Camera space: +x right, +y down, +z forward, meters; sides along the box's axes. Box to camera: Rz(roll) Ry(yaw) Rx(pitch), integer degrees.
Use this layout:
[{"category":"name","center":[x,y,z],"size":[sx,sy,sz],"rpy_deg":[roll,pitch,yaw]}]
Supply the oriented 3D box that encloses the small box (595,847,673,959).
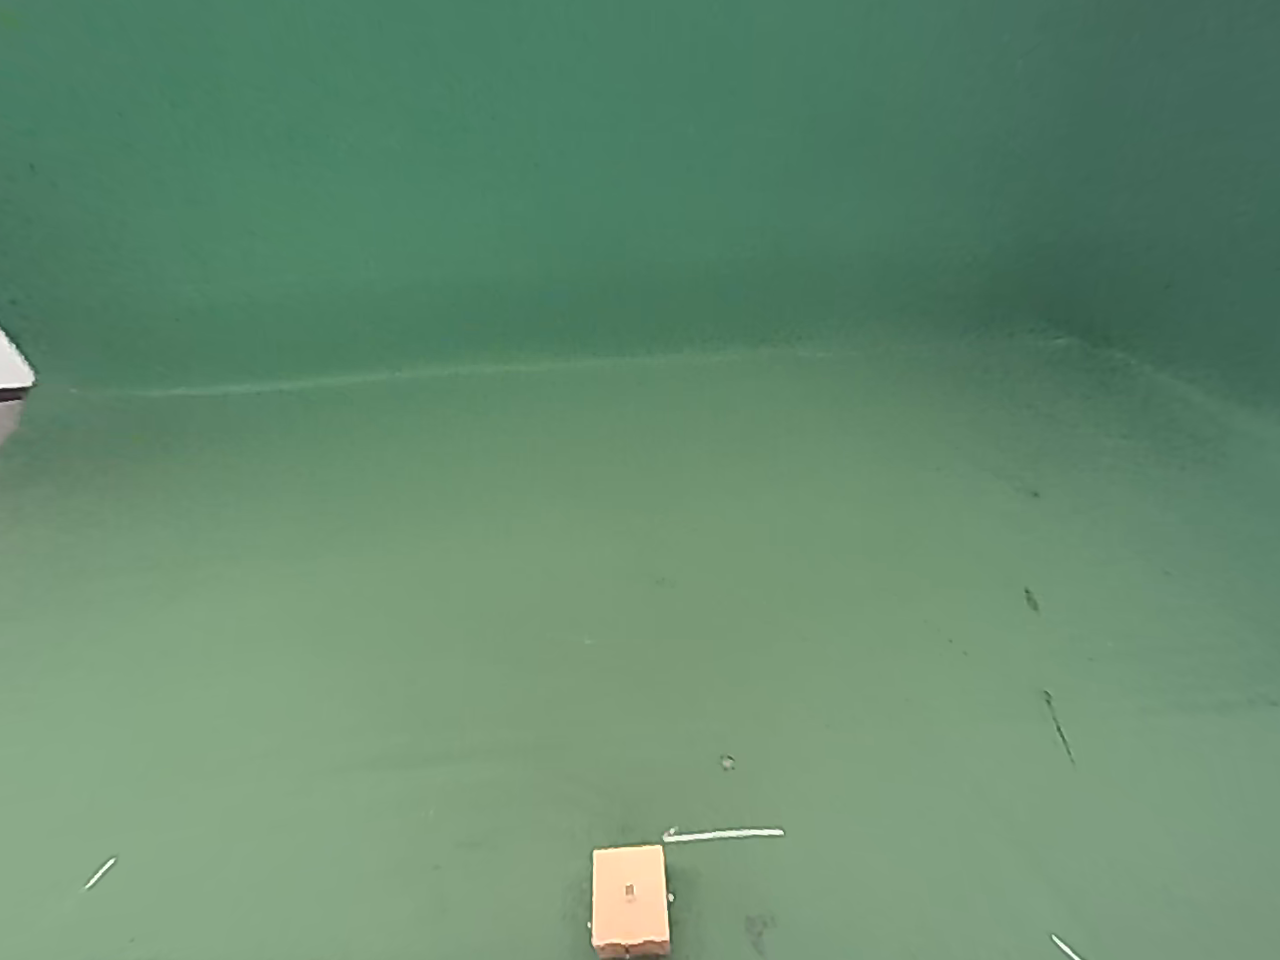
[{"category":"small box","center":[-0.016,0.980,1.253],"size":[0.168,0.176,0.179],"rpy_deg":[-4,43,-2]}]
